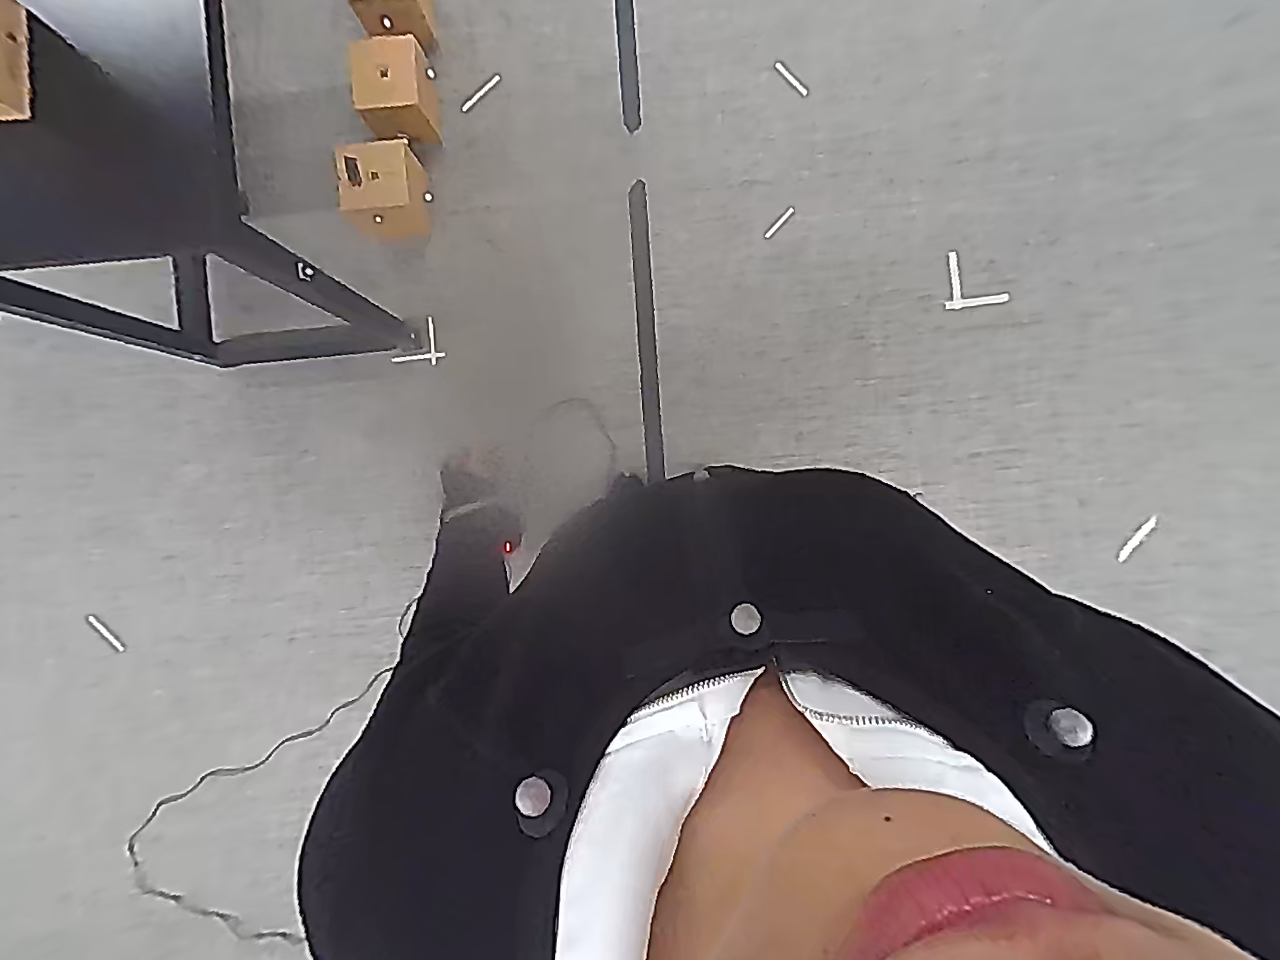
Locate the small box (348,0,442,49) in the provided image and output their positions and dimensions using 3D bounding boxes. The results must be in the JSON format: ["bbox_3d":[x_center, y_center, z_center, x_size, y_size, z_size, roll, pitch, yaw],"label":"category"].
[{"bbox_3d":[-0.648,-1.279,1.427,0.179,0.176,0.168,-5,91,2],"label":"small box"}]

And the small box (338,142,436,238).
[{"bbox_3d":[-0.664,-0.760,1.435,0.179,0.176,0.168,-5,91,1],"label":"small box"}]

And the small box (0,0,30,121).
[{"bbox_3d":[-0.976,-0.606,0.715,0.179,0.176,0.168,-2,90,2],"label":"small box"}]

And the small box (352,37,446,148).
[{"bbox_3d":[-0.631,-1.016,1.432,0.168,0.176,0.179,-5,91,2],"label":"small box"}]
